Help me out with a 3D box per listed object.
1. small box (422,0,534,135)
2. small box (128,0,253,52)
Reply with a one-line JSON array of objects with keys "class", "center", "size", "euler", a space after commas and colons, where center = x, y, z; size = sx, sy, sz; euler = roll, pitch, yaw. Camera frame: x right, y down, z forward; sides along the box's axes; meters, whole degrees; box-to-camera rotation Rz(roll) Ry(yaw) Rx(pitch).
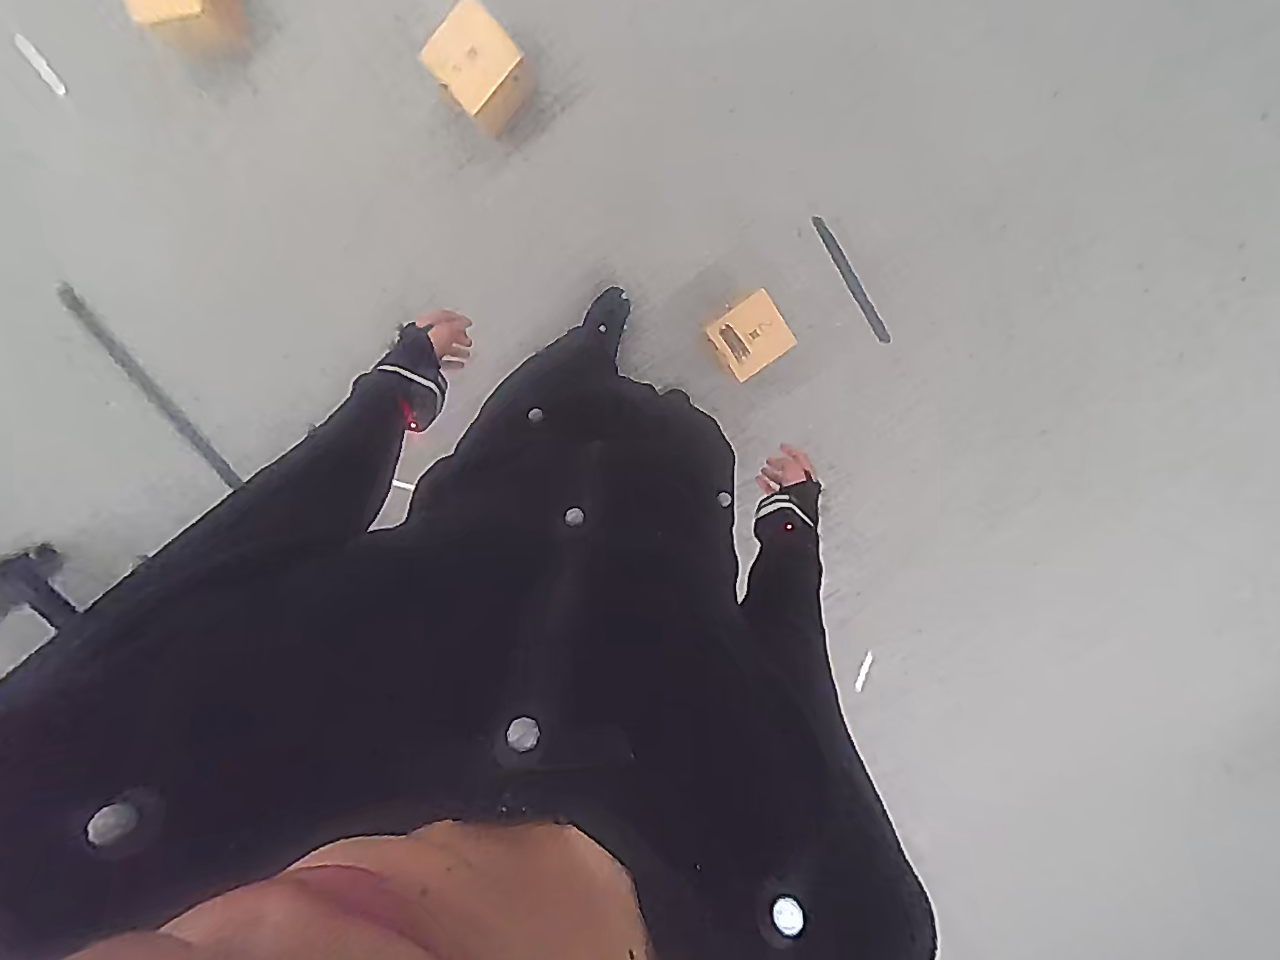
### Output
[{"class": "small box", "center": [-0.367, -0.960, 1.265], "size": [0.179, 0.176, 0.168], "euler": [-42, 102, 12]}, {"class": "small box", "center": [-1.033, -1.114, 1.230], "size": [0.168, 0.176, 0.179], "euler": [-7, 106, 3]}]
